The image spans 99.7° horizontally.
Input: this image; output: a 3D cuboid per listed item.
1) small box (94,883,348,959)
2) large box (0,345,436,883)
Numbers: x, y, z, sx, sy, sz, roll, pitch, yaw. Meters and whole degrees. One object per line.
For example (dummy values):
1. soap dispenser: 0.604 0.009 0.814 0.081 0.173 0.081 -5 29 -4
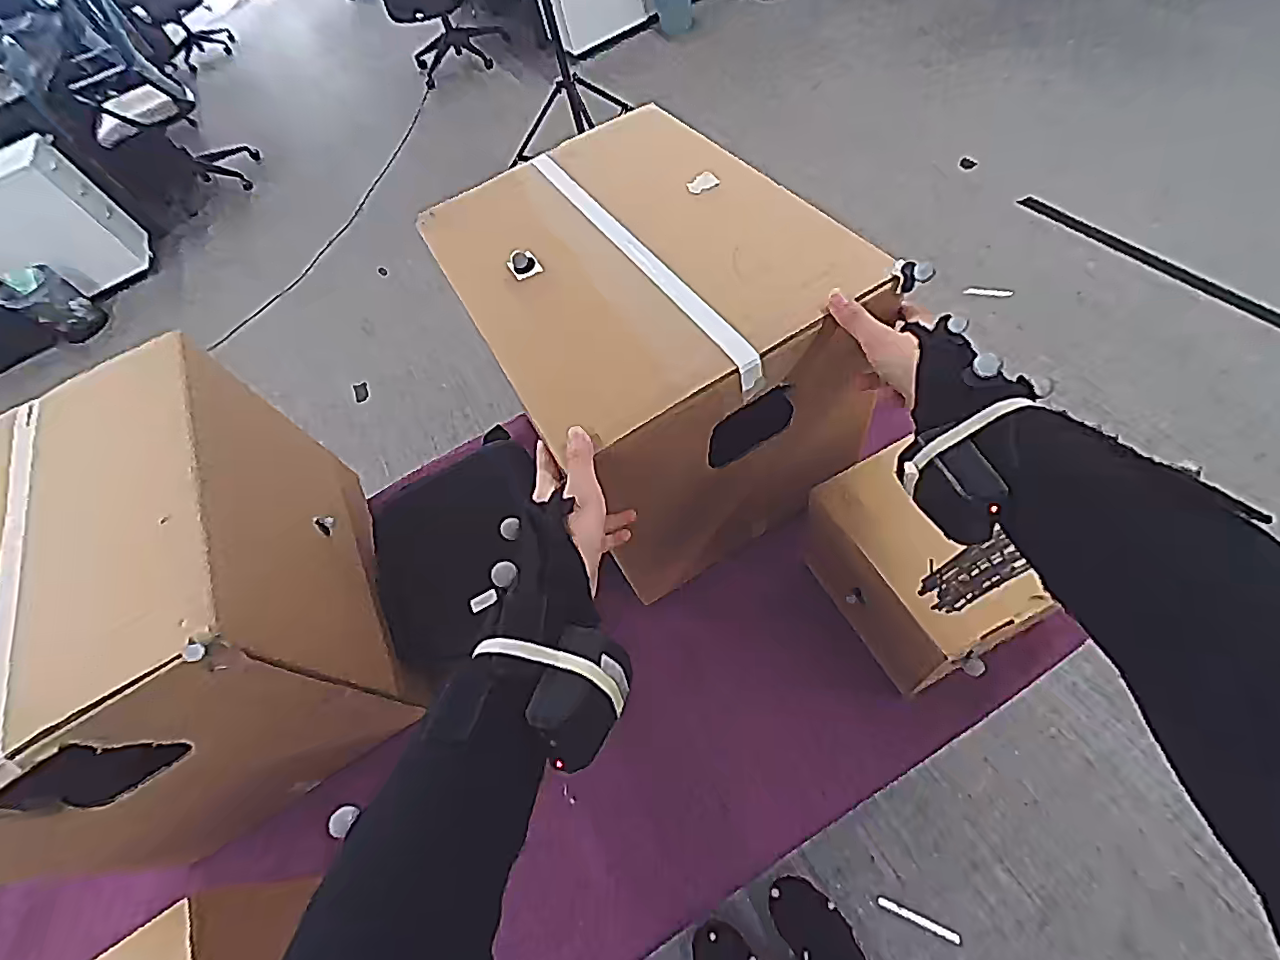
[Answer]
1. small box: -0.369 0.472 0.443 0.179 0.176 0.168 -33 56 -9
2. large box: -0.493 0.137 0.598 0.320 0.320 0.408 -33 59 -7
